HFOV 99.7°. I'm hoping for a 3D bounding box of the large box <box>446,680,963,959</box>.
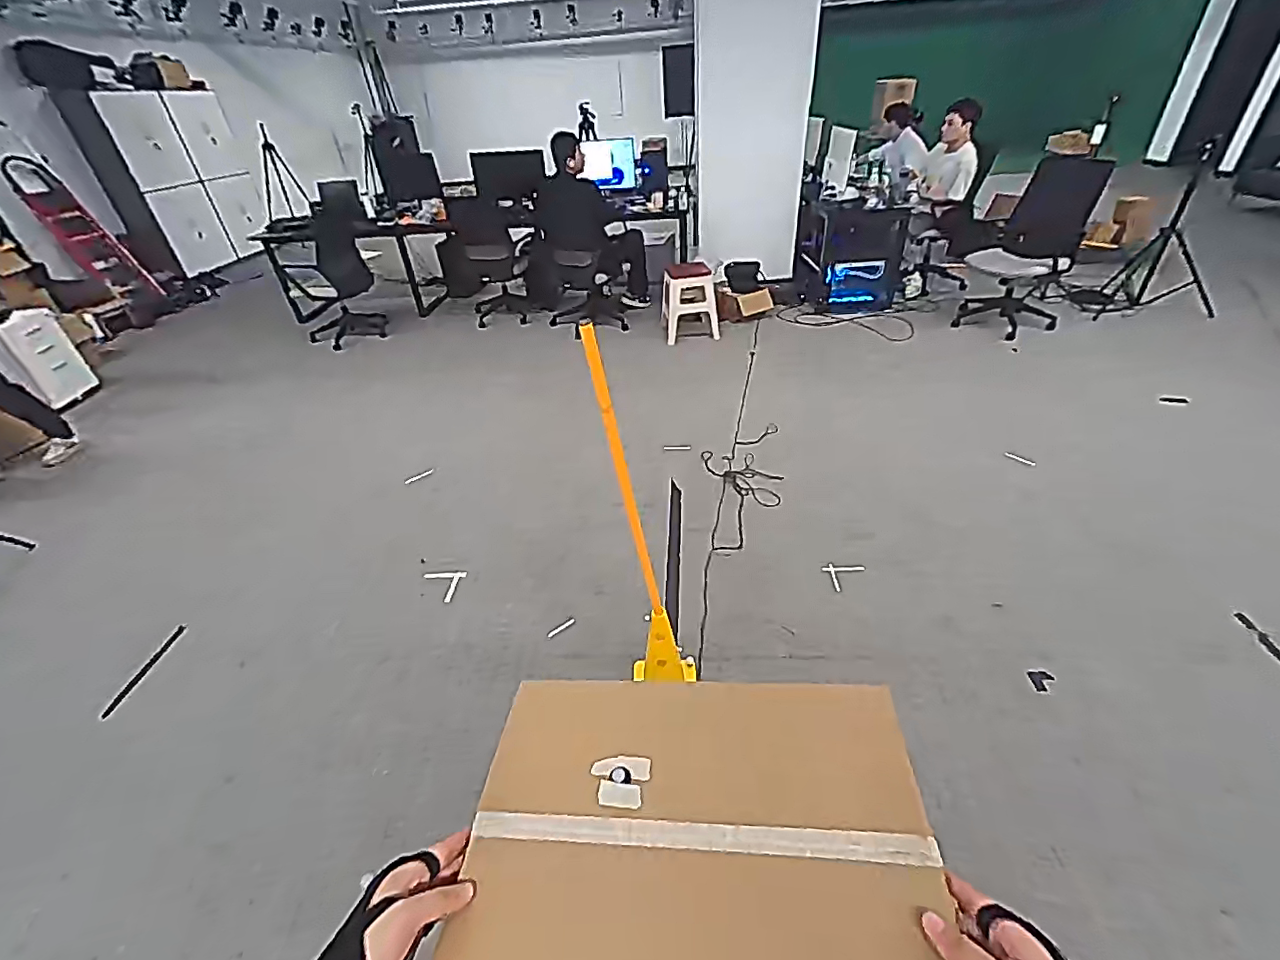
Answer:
[{"bbox_3d":[0.071,0.438,0.570,0.408,0.320,0.320,-4,34,10],"label":"large box"}]
